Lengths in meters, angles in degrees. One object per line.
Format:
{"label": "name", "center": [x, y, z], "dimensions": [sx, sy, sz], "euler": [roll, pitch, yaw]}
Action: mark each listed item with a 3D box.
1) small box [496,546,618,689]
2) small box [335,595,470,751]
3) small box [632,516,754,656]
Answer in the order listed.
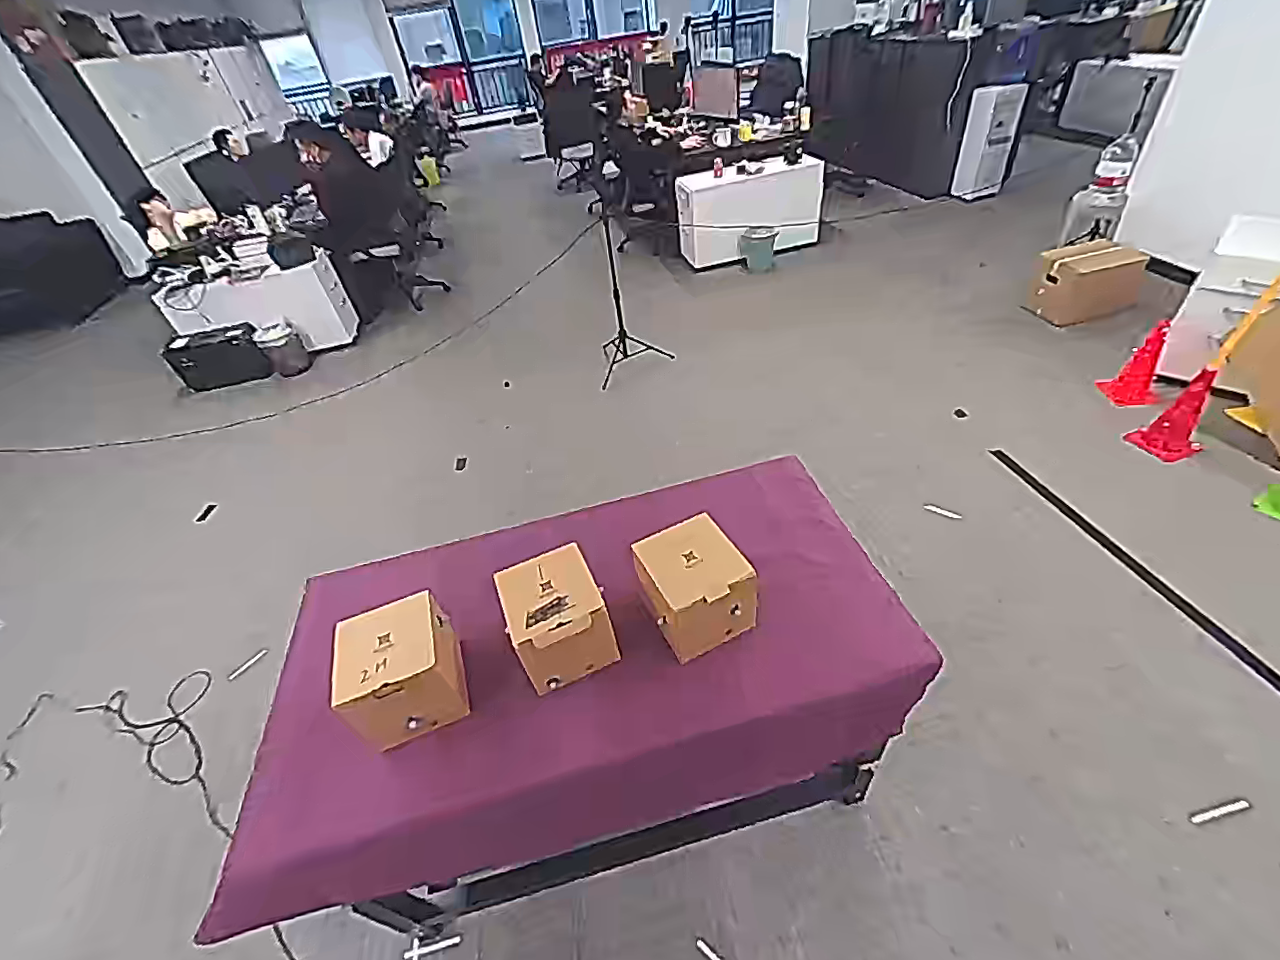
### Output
{"label": "small box", "center": [-0.153, 0.263, 1.015], "dimensions": [0.168, 0.176, 0.179], "euler": [-21, 41, -13]}
{"label": "small box", "center": [-0.420, 0.346, 0.973], "dimensions": [0.168, 0.176, 0.179], "euler": [-20, 42, -11]}
{"label": "small box", "center": [0.104, 0.208, 1.030], "dimensions": [0.168, 0.176, 0.179], "euler": [-22, 42, -14]}
